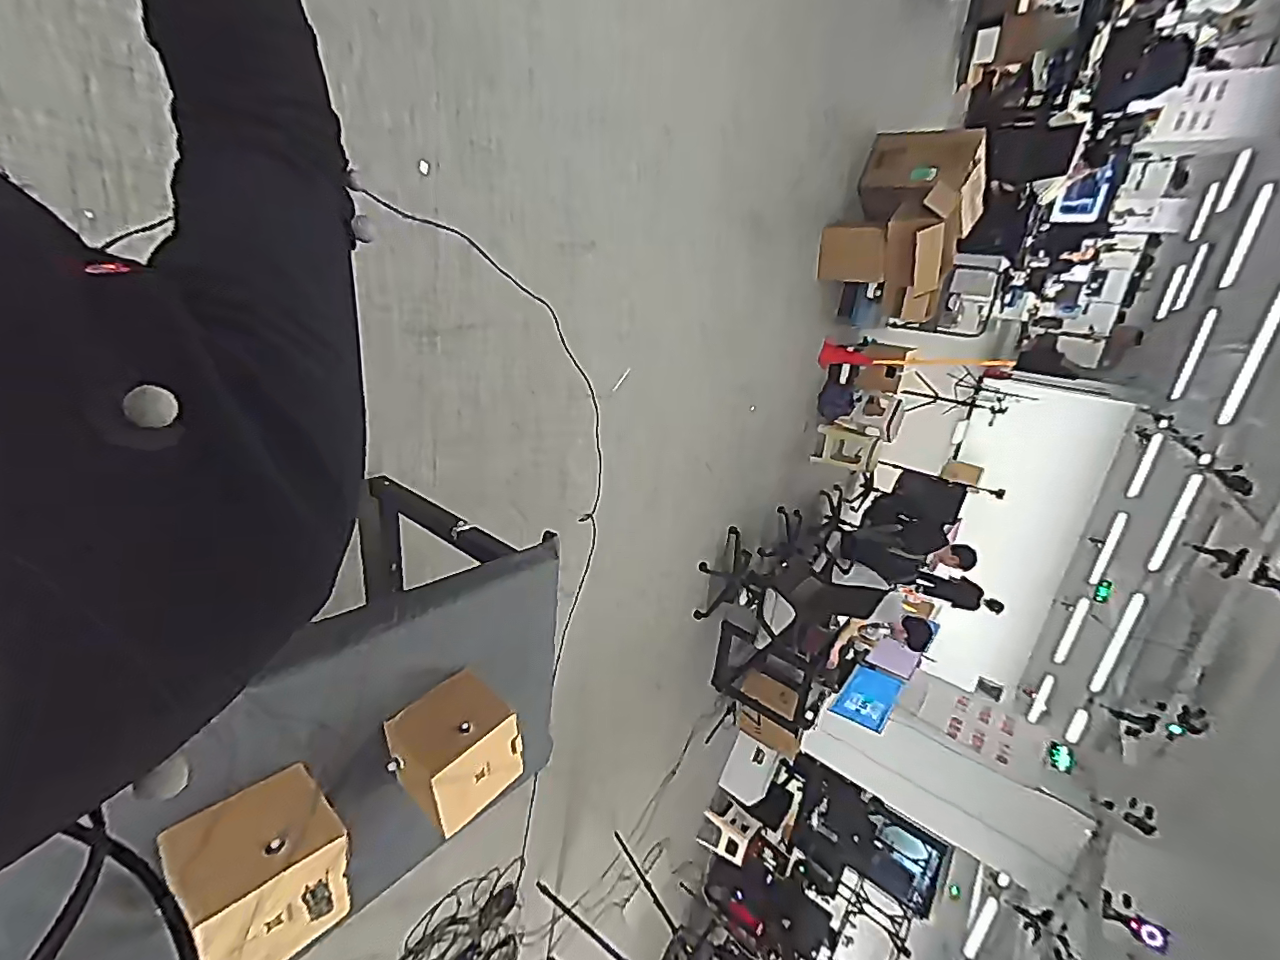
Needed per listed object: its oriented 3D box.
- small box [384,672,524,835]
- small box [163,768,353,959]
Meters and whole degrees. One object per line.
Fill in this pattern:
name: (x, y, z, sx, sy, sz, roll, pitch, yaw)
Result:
small box: (-0.345, 0.499, 1.016, 0.179, 0.176, 0.168, -28, 127, -43)
small box: (-0.541, 0.562, 0.776, 0.179, 0.176, 0.168, -15, 119, -49)
